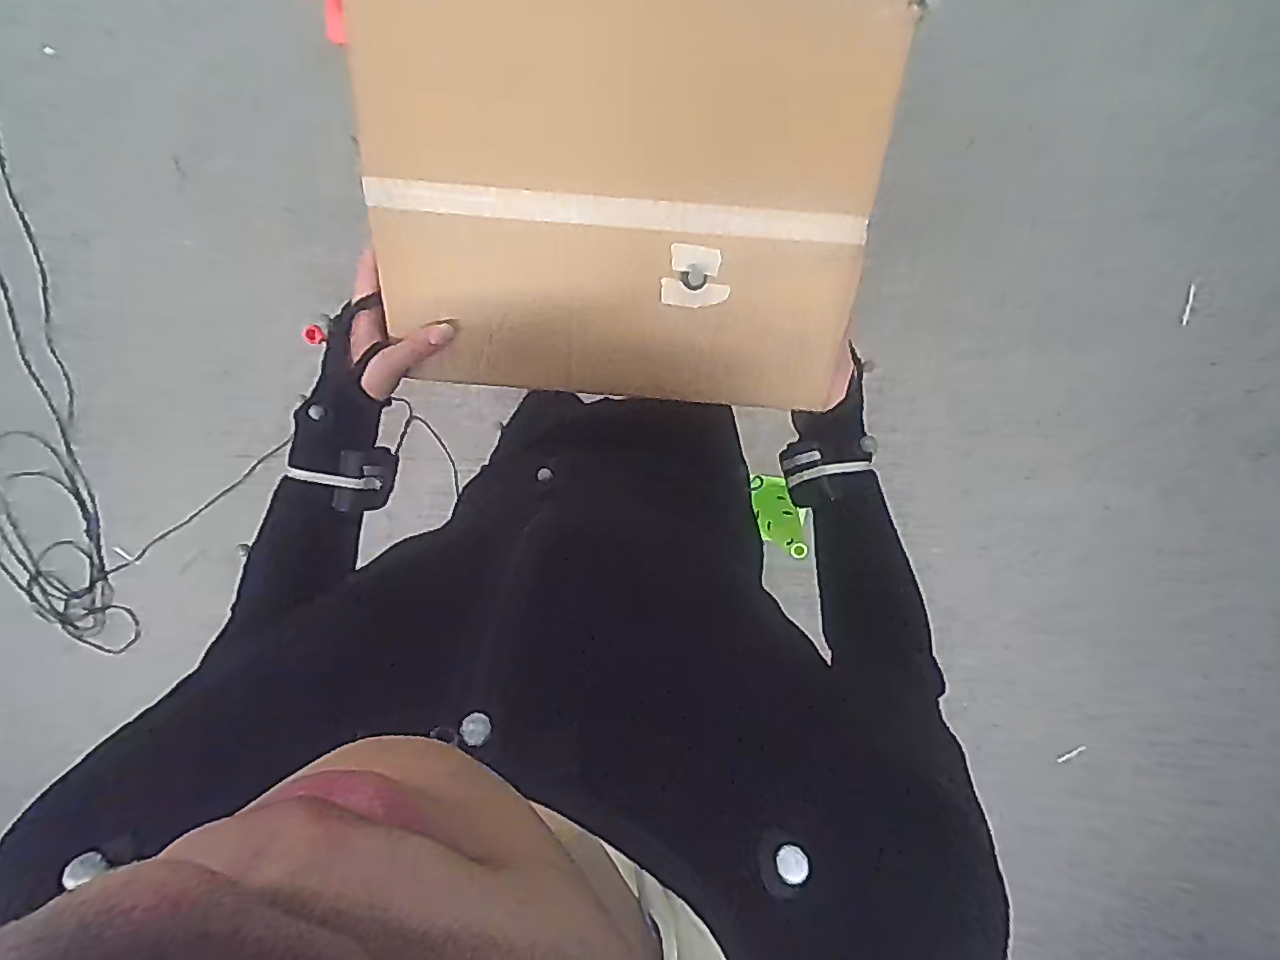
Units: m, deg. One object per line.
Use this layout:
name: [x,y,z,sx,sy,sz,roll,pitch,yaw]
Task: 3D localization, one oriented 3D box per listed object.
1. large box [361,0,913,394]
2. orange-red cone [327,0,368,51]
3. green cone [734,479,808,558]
large box: [-0.011,-0.294,0.578,0.408,0.320,0.320,4,117,-1]
orange-red cone: [-0.708,-1.168,1.206,0.199,0.360,0.198,9,102,2]
green cone: [0.388,0.137,1.458,0.200,0.368,0.202,7,102,1]
